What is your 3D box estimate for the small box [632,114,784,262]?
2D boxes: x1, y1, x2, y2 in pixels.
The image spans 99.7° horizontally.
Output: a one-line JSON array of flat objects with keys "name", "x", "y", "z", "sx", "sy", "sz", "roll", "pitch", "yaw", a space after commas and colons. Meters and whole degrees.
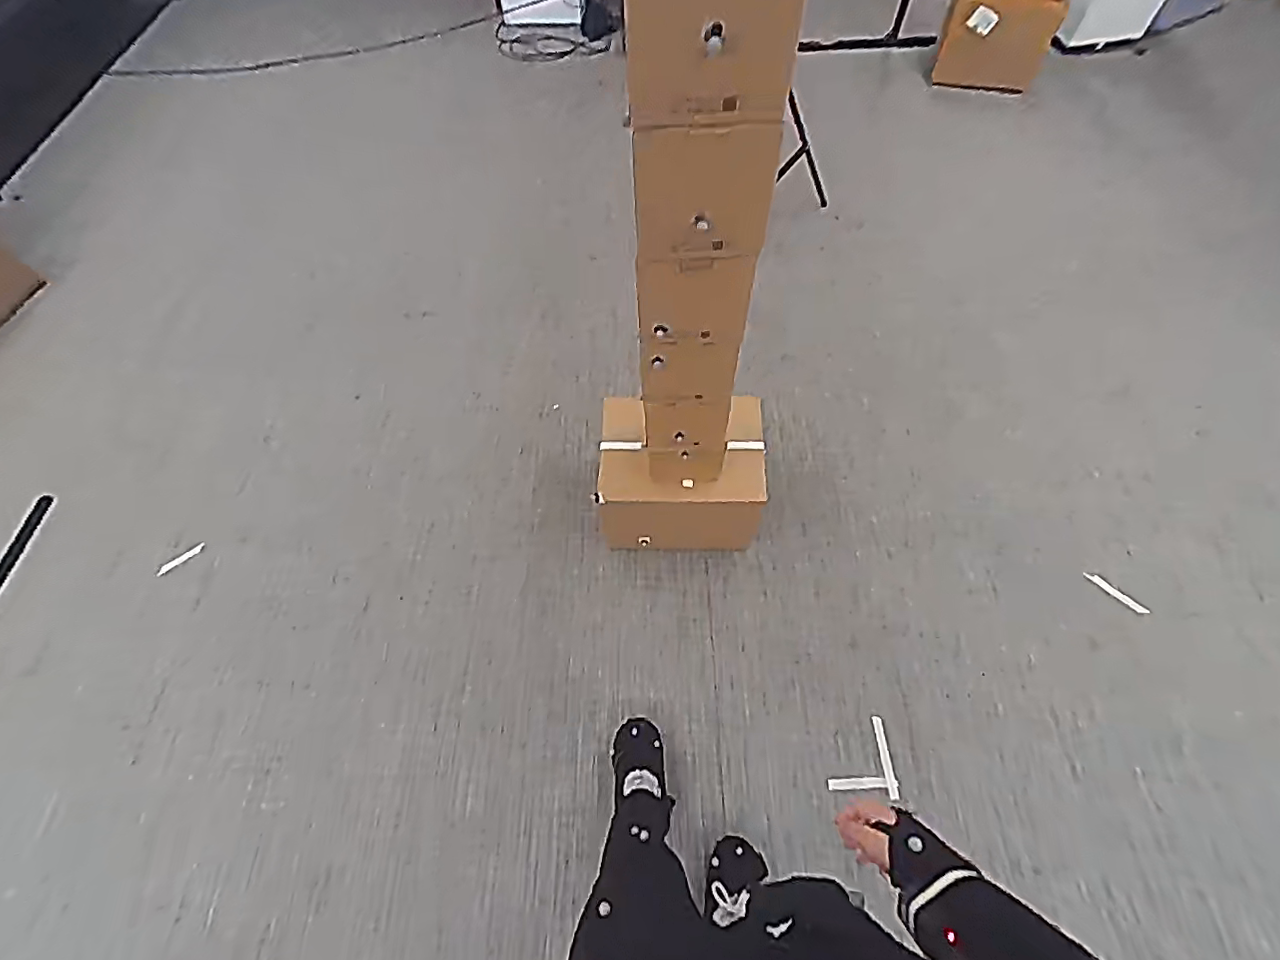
[{"name": "small box", "x": 0.076, "y": -0.404, "z": 0.687, "sx": 0.168, "sy": 0.176, "sz": 0.179, "roll": -2, "pitch": 62, "yaw": 2}]

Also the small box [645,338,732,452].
[{"name": "small box", "x": 0.095, "y": -0.174, "z": 1.123, "sx": 0.168, "sy": 0.176, "sz": 0.179, "roll": -1, "pitch": 62, "yaw": 2}]

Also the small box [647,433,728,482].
[{"name": "small box", "x": 0.105, "y": -0.103, "z": 1.268, "sx": 0.179, "sy": 0.176, "sz": 0.168, "roll": -2, "pitch": 62, "yaw": 1}]

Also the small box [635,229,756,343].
[{"name": "small box", "x": 0.082, "y": -0.328, "z": 0.833, "sx": 0.168, "sy": 0.176, "sz": 0.179, "roll": 1, "pitch": 61, "yaw": 3}]

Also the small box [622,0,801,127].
[{"name": "small box", "x": 0.065, "y": -0.485, "z": 0.545, "sx": 0.168, "sy": 0.176, "sz": 0.179, "roll": -3, "pitch": 63, "yaw": 1}]
